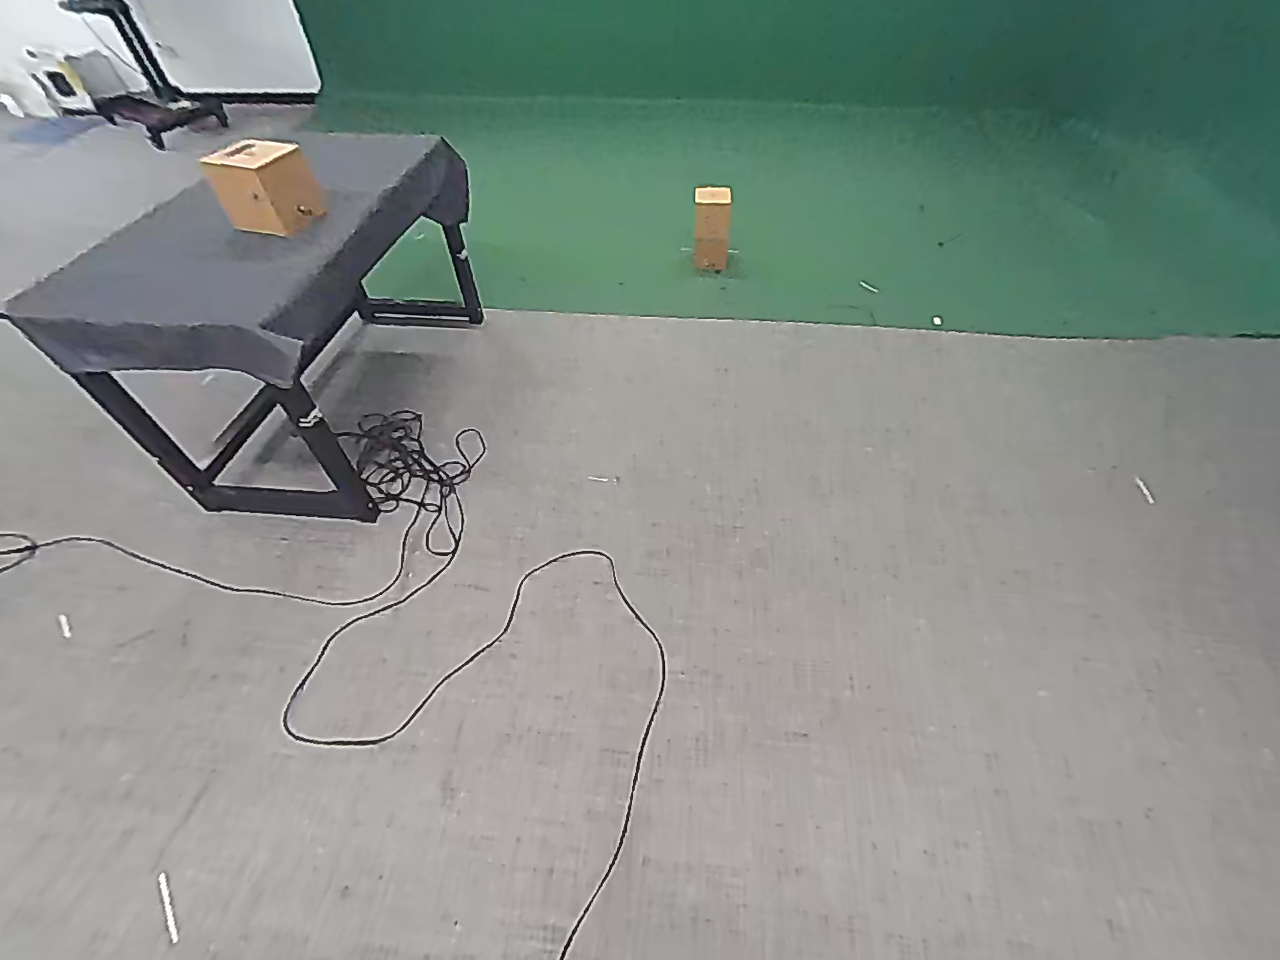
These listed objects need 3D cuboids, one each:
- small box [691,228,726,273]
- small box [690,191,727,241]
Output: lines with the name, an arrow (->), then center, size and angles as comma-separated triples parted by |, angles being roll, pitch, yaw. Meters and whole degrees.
small box -> 0.343, -1.166, 2.730 | 0.168, 0.176, 0.179 | 3, 50, 5
small box -> 0.330, -1.271, 2.605 | 0.168, 0.176, 0.179 | 2, 48, 4
